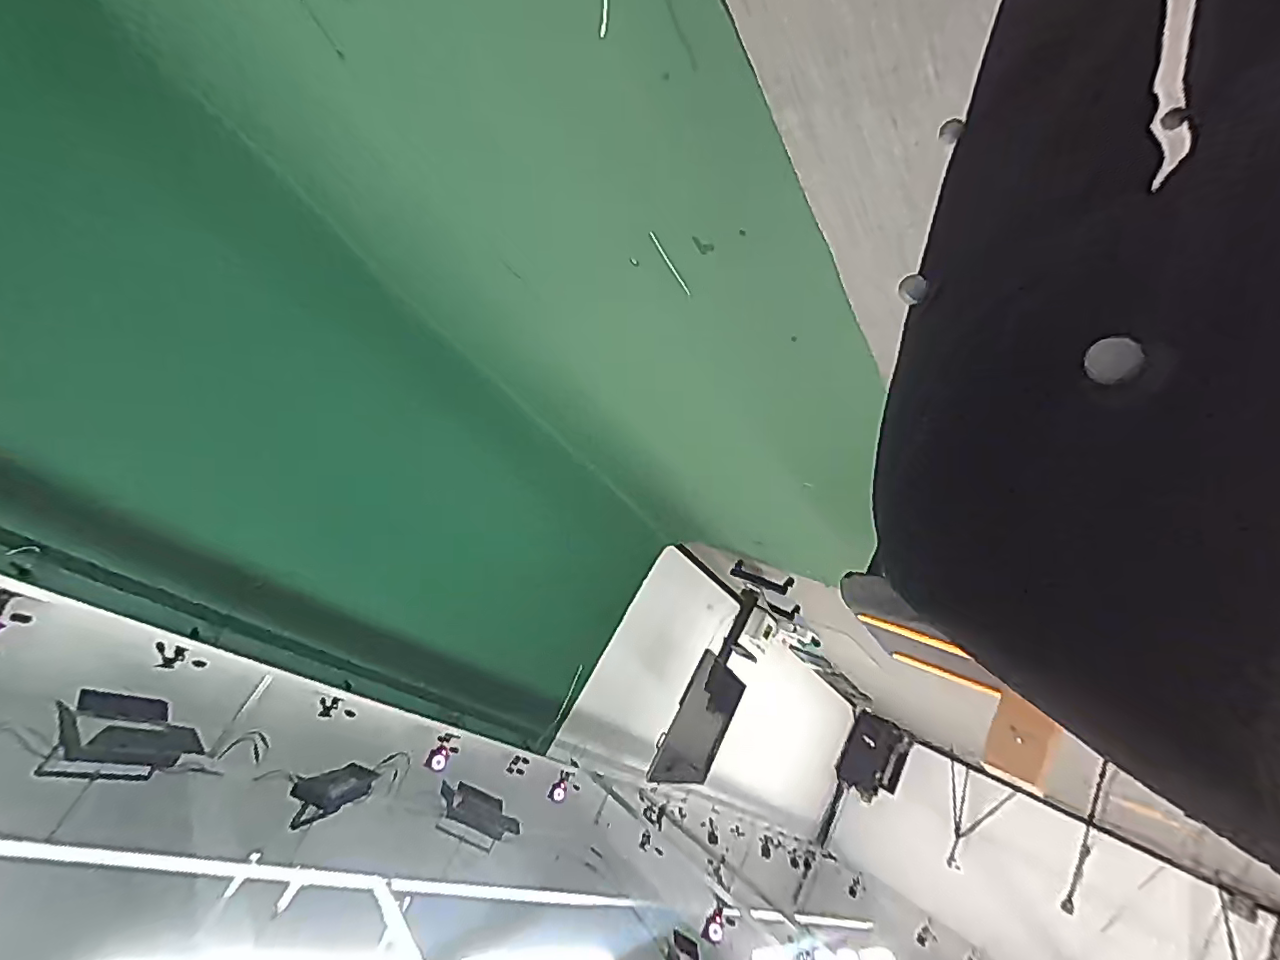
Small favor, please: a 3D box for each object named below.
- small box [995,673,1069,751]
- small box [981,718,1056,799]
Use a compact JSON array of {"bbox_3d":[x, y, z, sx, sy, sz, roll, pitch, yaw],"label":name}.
[{"bbox_3d":[1.365,0.802,1.875,0.168,0.176,0.179,10,153,48],"label":"small box"},{"bbox_3d":[1.285,0.939,1.830,0.168,0.176,0.179,11,154,47],"label":"small box"}]
